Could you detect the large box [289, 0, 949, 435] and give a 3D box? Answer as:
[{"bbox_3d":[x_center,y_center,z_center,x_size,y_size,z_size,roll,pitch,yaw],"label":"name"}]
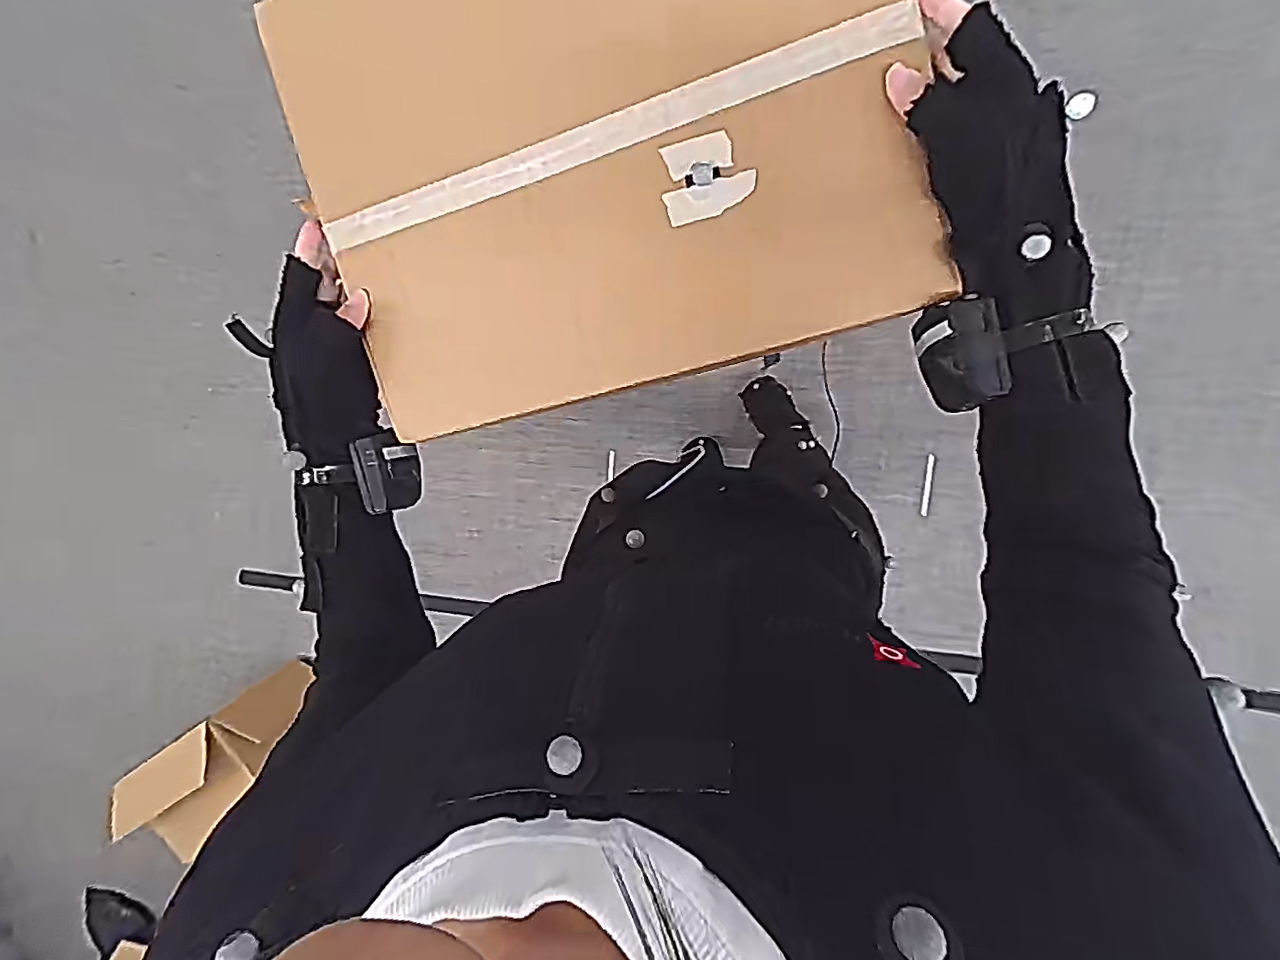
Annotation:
[{"bbox_3d":[-0.003,-0.252,0.510,0.408,0.320,0.320,-13,100,11],"label":"large box"}]
